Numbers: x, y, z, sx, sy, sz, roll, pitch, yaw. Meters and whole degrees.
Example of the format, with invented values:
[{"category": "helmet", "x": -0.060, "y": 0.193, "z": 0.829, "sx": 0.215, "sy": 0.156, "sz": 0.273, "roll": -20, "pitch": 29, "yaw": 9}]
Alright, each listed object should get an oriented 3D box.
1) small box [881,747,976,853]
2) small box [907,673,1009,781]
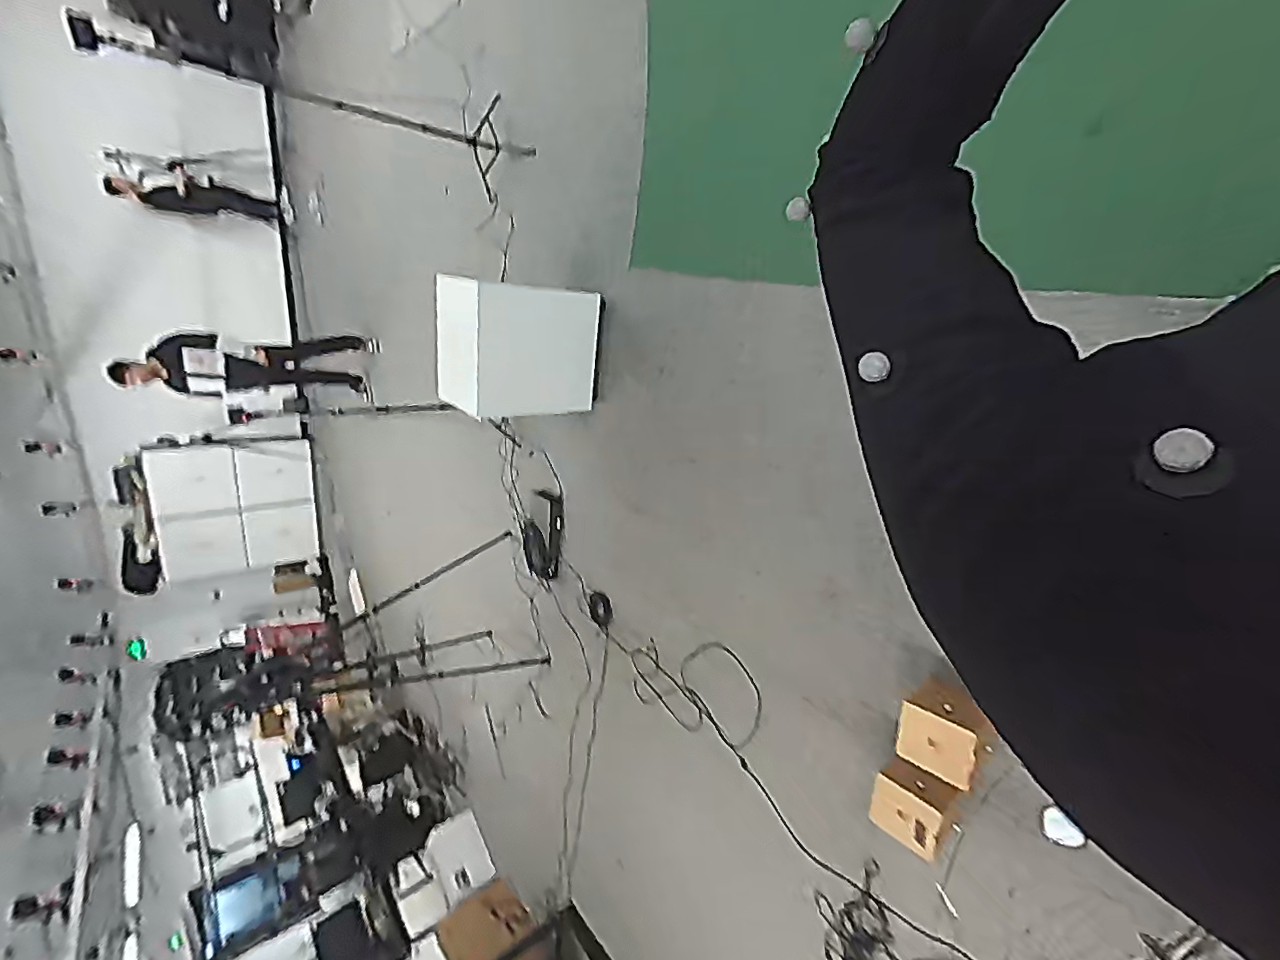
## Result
[{"category": "small box", "x": 0.806, "y": 0.871, "z": 1.505, "sx": 0.179, "sy": 0.176, "sz": 0.168, "roll": 19, "pitch": 113, "yaw": 47}, {"category": "small box", "x": 0.833, "y": 0.633, "z": 1.416, "sx": 0.179, "sy": 0.176, "sz": 0.168, "roll": 14, "pitch": 110, "yaw": 46}]
